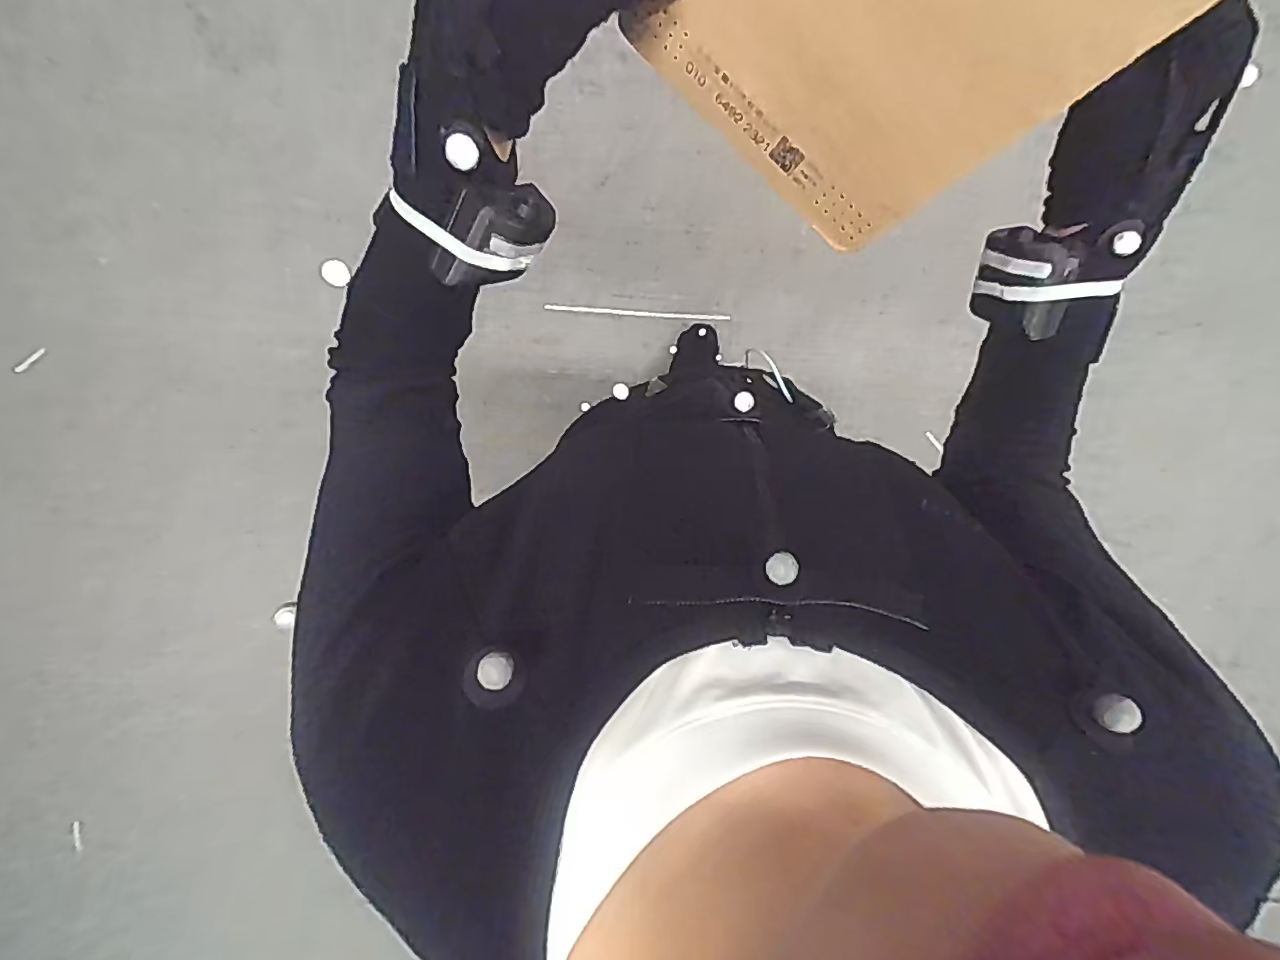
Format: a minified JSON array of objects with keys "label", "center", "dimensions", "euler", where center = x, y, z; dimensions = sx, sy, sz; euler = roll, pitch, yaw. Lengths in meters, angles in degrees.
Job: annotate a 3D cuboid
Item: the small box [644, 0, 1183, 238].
[{"label":"small box","center":[0.125,-0.250,0.228],"dimensions":[0.168,0.176,0.179],"euler":[39,76,-10]}]
